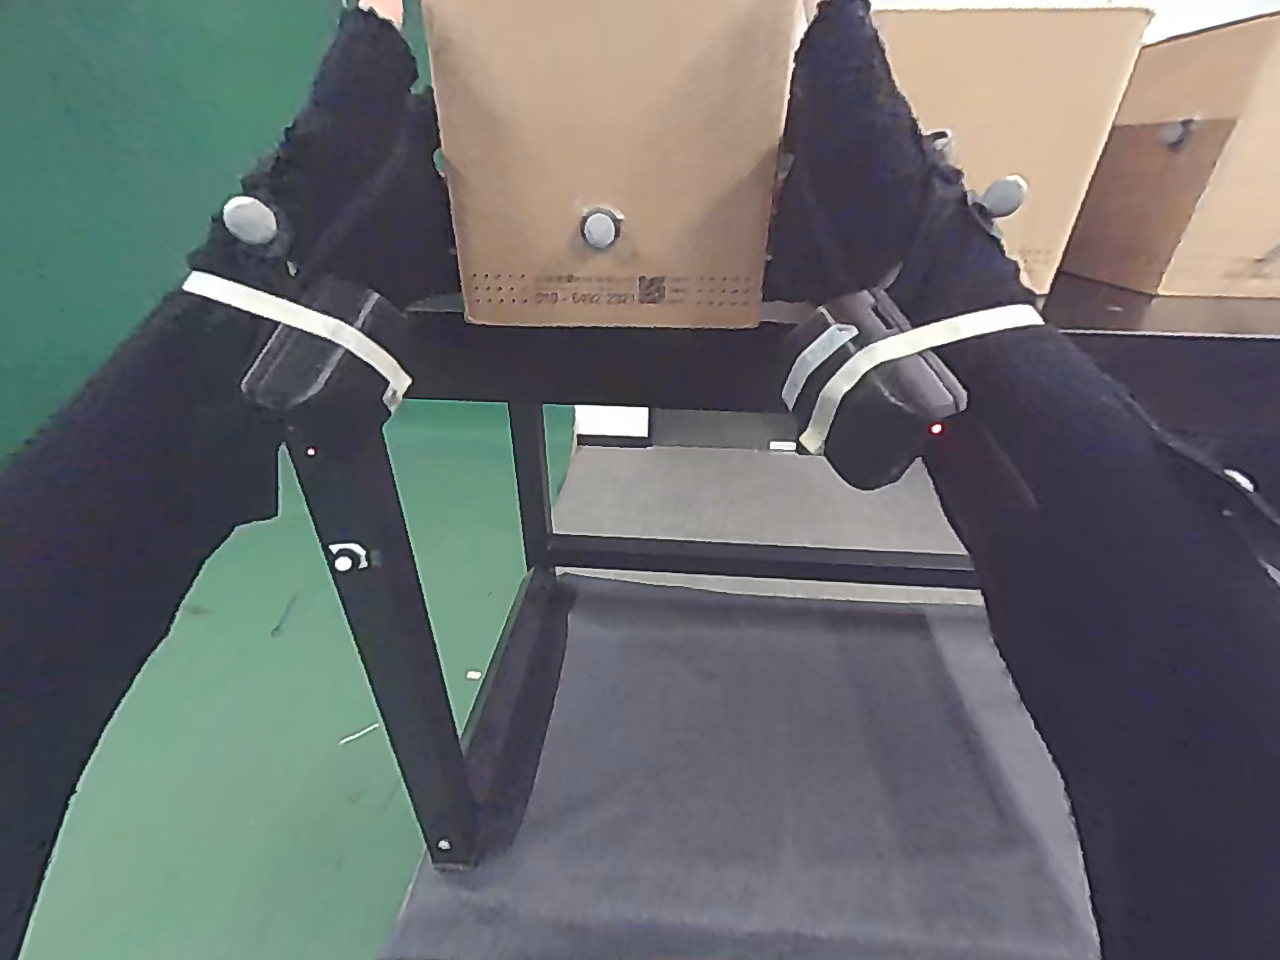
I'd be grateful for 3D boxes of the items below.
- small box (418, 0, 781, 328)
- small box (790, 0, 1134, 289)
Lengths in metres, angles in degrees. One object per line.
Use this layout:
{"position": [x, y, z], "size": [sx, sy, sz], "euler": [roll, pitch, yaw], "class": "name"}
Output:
{"position": [-0.022, -0.201, 0.336], "size": [0.168, 0.176, 0.179], "euler": [0, 31, -1], "class": "small box"}
{"position": [0.221, -0.253, 0.434], "size": [0.168, 0.176, 0.179], "euler": [3, 29, 6], "class": "small box"}
